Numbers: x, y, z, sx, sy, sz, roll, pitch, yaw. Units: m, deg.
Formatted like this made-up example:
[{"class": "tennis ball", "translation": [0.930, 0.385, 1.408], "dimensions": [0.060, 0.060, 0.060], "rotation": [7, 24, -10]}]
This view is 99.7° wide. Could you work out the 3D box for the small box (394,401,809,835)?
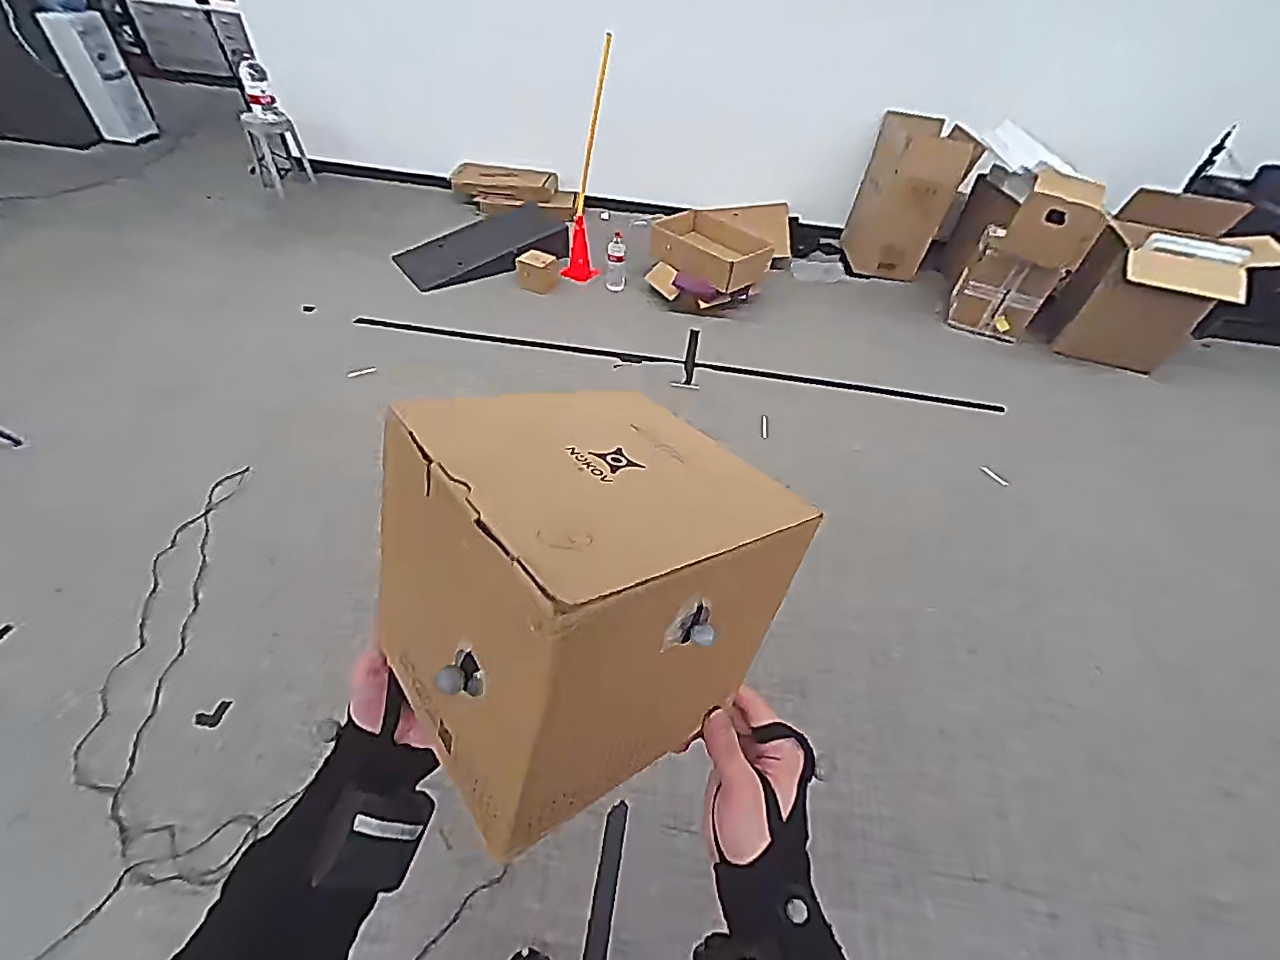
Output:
[{"class": "small box", "translation": [-0.035, 0.065, 0.333], "dimensions": [0.179, 0.176, 0.168], "rotation": [-11, 38, -42]}]
